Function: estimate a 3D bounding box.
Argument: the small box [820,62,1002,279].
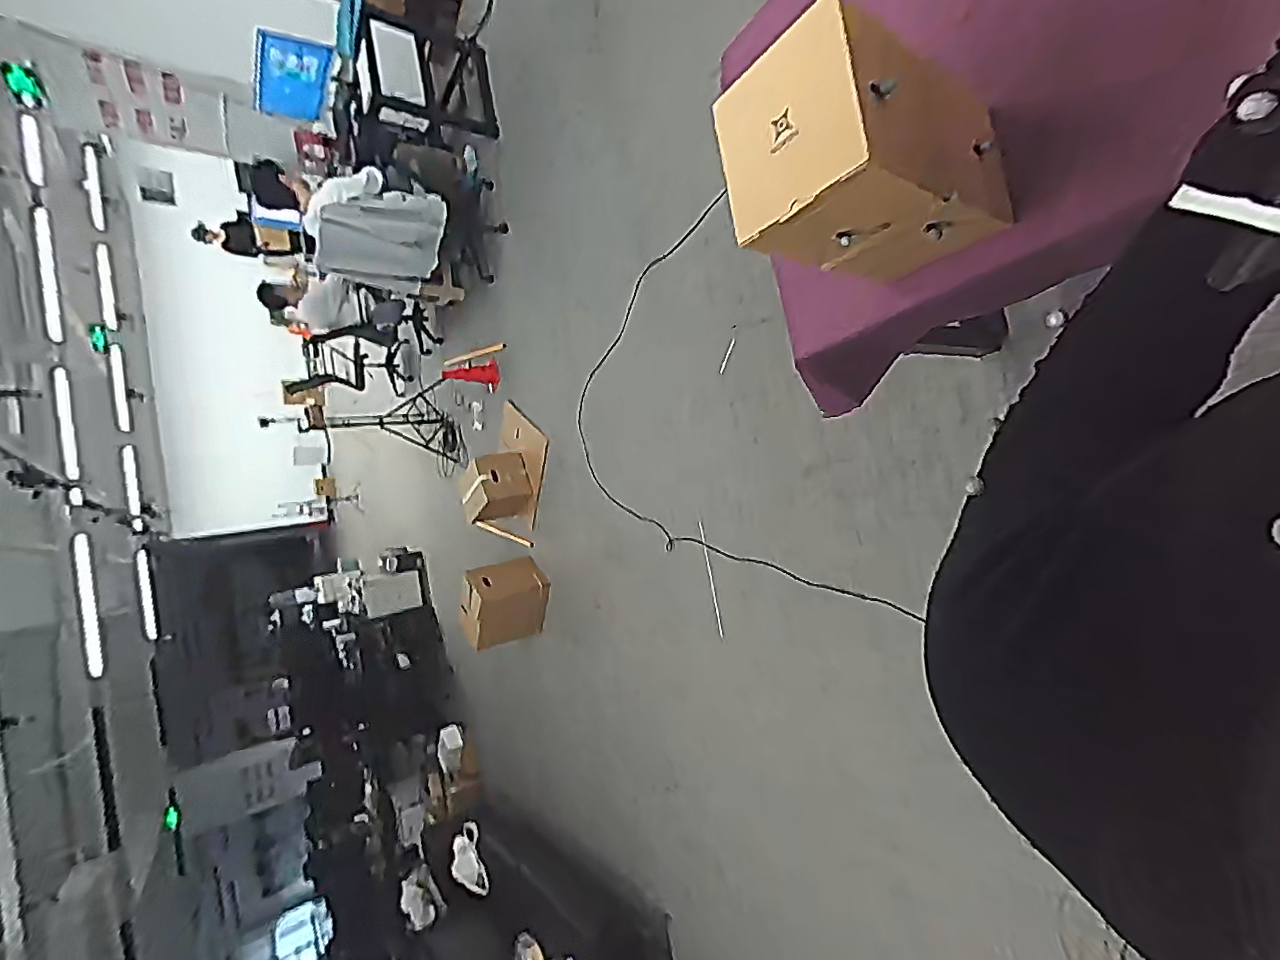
[{"bbox_3d":[0.348,-0.386,0.714,0.179,0.176,0.168,-15,84,53],"label":"small box"}]

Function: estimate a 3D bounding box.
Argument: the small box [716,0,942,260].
[{"bbox_3d":[0.215,-0.378,0.620,0.168,0.176,0.179,-14,86,53],"label":"small box"}]
